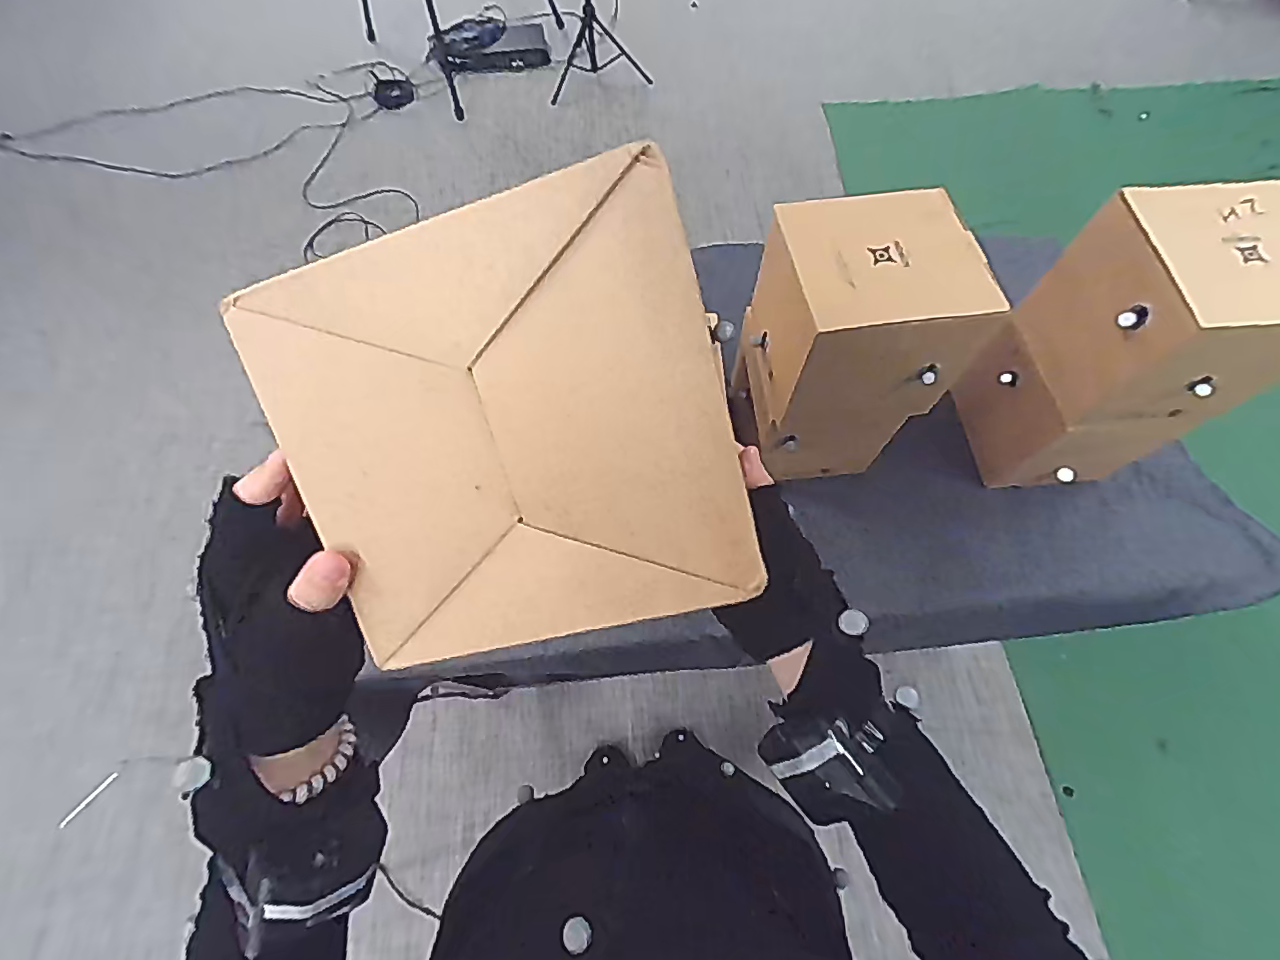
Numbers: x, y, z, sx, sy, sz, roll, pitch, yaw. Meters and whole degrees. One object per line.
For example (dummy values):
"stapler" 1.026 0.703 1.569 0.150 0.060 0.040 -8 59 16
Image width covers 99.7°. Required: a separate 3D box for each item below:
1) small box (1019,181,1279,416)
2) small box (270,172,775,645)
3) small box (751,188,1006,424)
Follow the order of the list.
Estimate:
"small box" 0.551 -0.178 0.569 0.168 0.176 0.179 -2 65 0
"small box" -0.040 -0.036 0.287 0.179 0.176 0.168 -14 104 10
"small box" 0.230 -0.176 0.577 0.179 0.176 0.168 -7 64 -1
